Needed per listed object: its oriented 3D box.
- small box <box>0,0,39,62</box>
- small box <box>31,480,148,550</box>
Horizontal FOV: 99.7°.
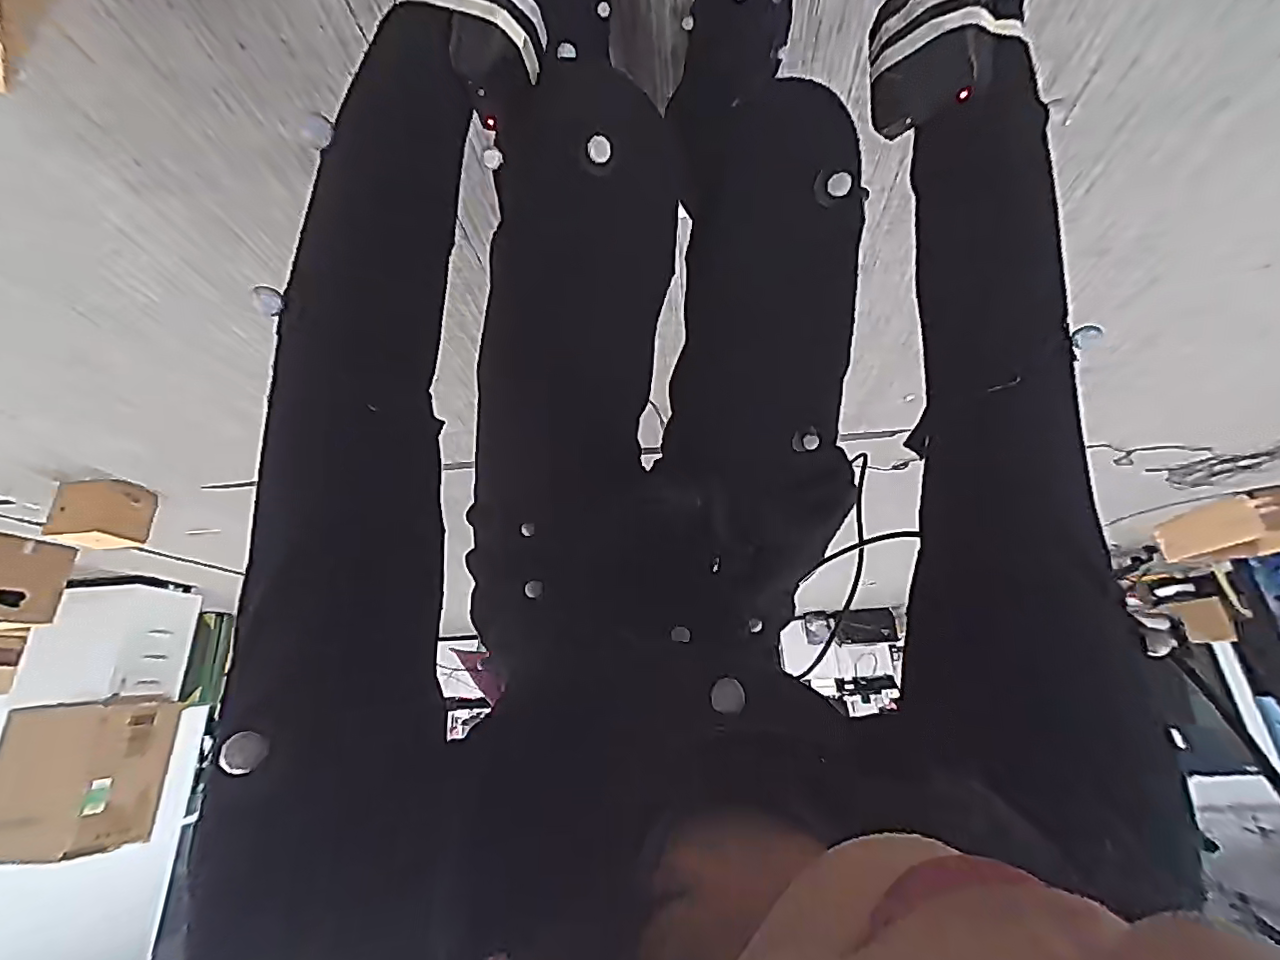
[{"bbox_3d":[-0.572,-0.468,0.396,0.168,0.176,0.179,-22,152,40],"label":"small box"},{"bbox_3d":[-1.680,0.110,1.665,0.179,0.176,0.168,-6,159,4],"label":"small box"}]
